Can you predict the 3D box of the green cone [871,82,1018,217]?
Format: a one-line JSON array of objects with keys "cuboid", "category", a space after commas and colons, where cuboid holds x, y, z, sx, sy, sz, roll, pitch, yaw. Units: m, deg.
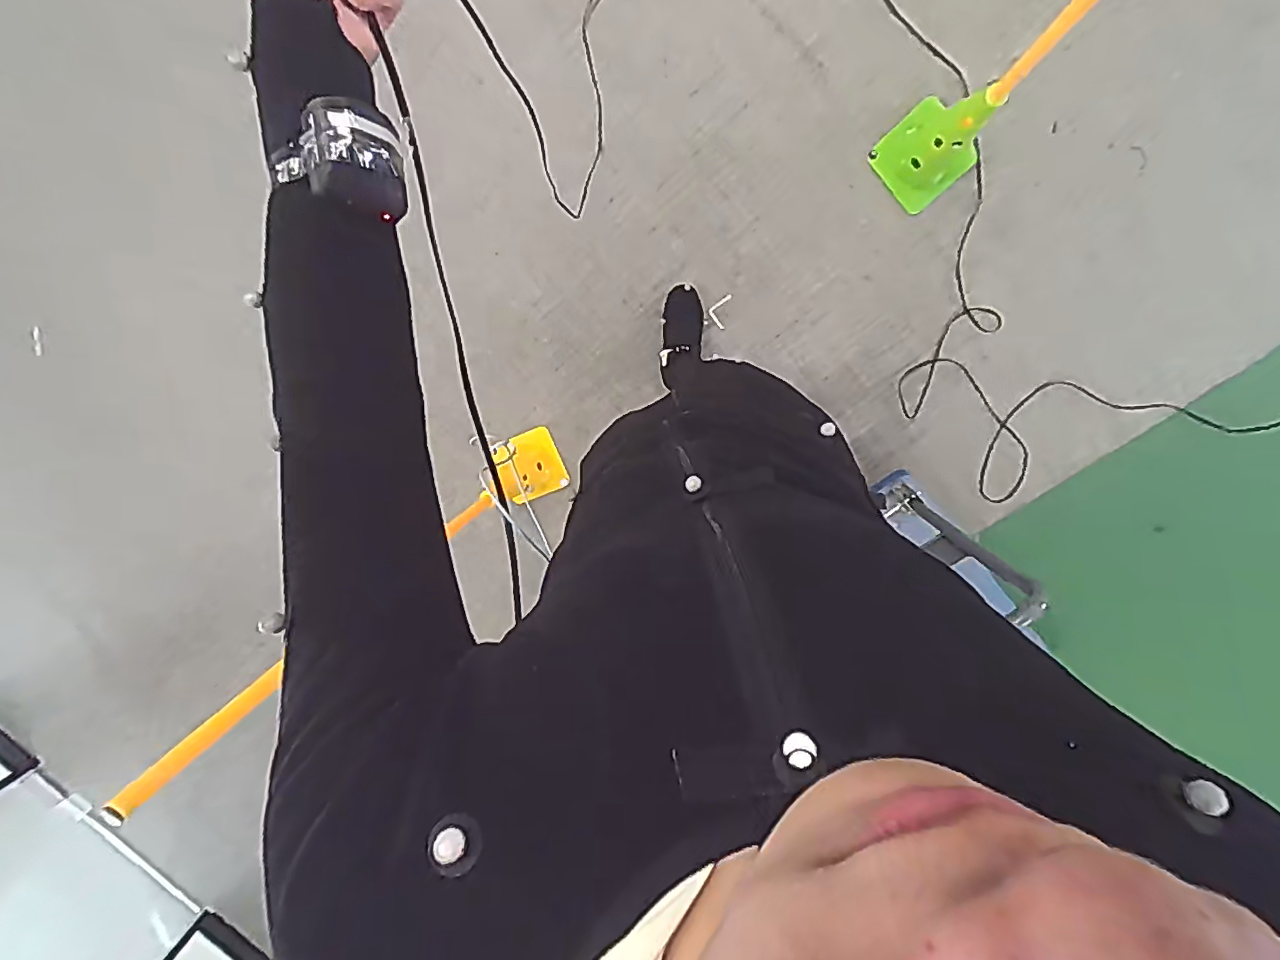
[{"cuboid": [0.688, -0.748, 1.169, 0.202, 0.368, 0.200, -42, 97, 13], "category": "green cone"}]
